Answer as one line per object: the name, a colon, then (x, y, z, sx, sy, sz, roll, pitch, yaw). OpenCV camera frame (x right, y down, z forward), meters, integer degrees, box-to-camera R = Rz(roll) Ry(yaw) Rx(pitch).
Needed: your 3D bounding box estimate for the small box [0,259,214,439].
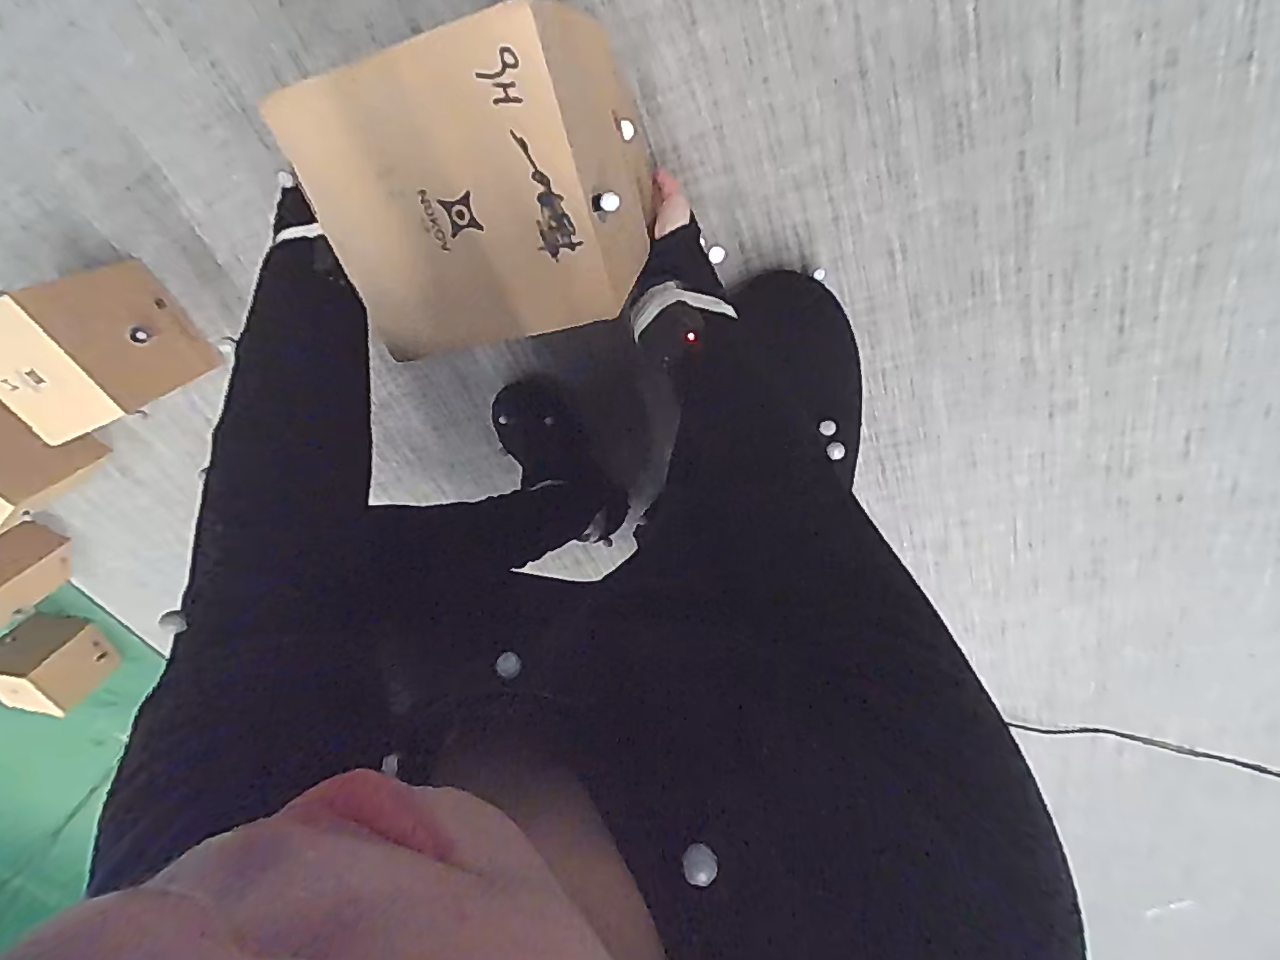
small box: (-0.750, -0.185, 0.749, 0.179, 0.176, 0.168, -13, 121, 19)

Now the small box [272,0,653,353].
small box: (-0.101, -0.214, 0.397, 0.179, 0.176, 0.168, -7, 124, 16)

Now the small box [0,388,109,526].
small box: (-1.079, -0.039, 0.919, 0.179, 0.176, 0.168, -25, 117, 25)

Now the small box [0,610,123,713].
small box: (-1.478, 0.450, 1.355, 0.179, 0.176, 0.168, 7, 127, 6)
